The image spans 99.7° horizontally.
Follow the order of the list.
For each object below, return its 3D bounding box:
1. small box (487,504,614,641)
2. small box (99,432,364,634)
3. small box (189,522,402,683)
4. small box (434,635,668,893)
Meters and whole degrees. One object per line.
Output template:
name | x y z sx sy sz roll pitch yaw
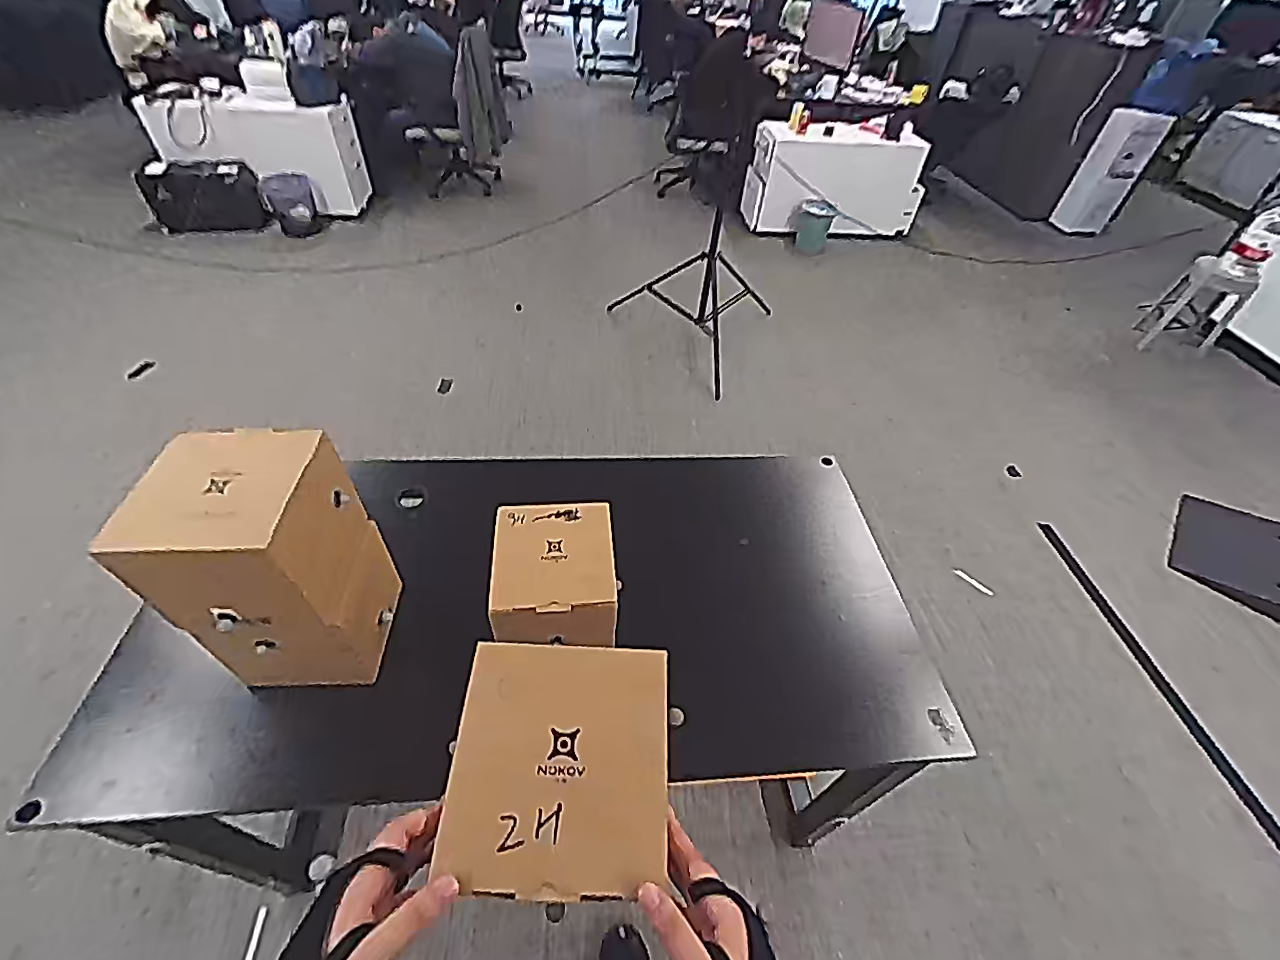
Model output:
small box | -0.125 0.157 0.805 0.168 0.176 0.179 -2 47 -7
small box | -0.450 0.062 0.639 0.168 0.176 0.179 -2 47 -5
small box | -0.459 0.173 0.757 0.179 0.176 0.168 1 46 -6
small box | -0.065 0.259 0.489 0.168 0.176 0.179 2 52 -1
